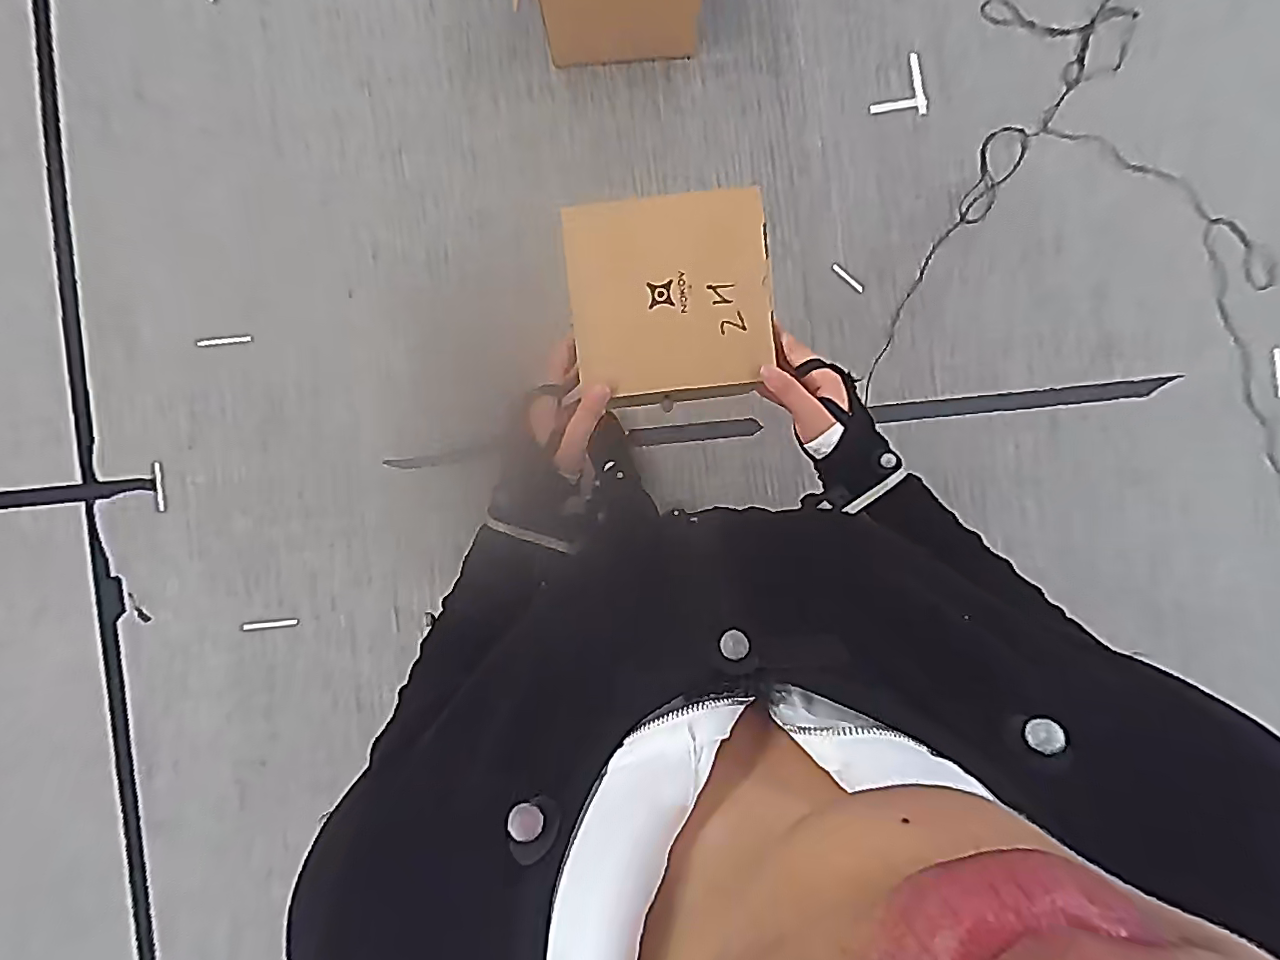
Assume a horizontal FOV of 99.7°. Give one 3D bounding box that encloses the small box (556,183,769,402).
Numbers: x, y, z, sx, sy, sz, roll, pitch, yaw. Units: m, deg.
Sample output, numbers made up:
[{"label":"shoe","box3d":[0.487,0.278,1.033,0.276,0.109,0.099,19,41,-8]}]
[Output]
[{"label":"small box","box3d":[0.022,-0.173,0.551,0.179,0.176,0.168,-6,95,0]}]
